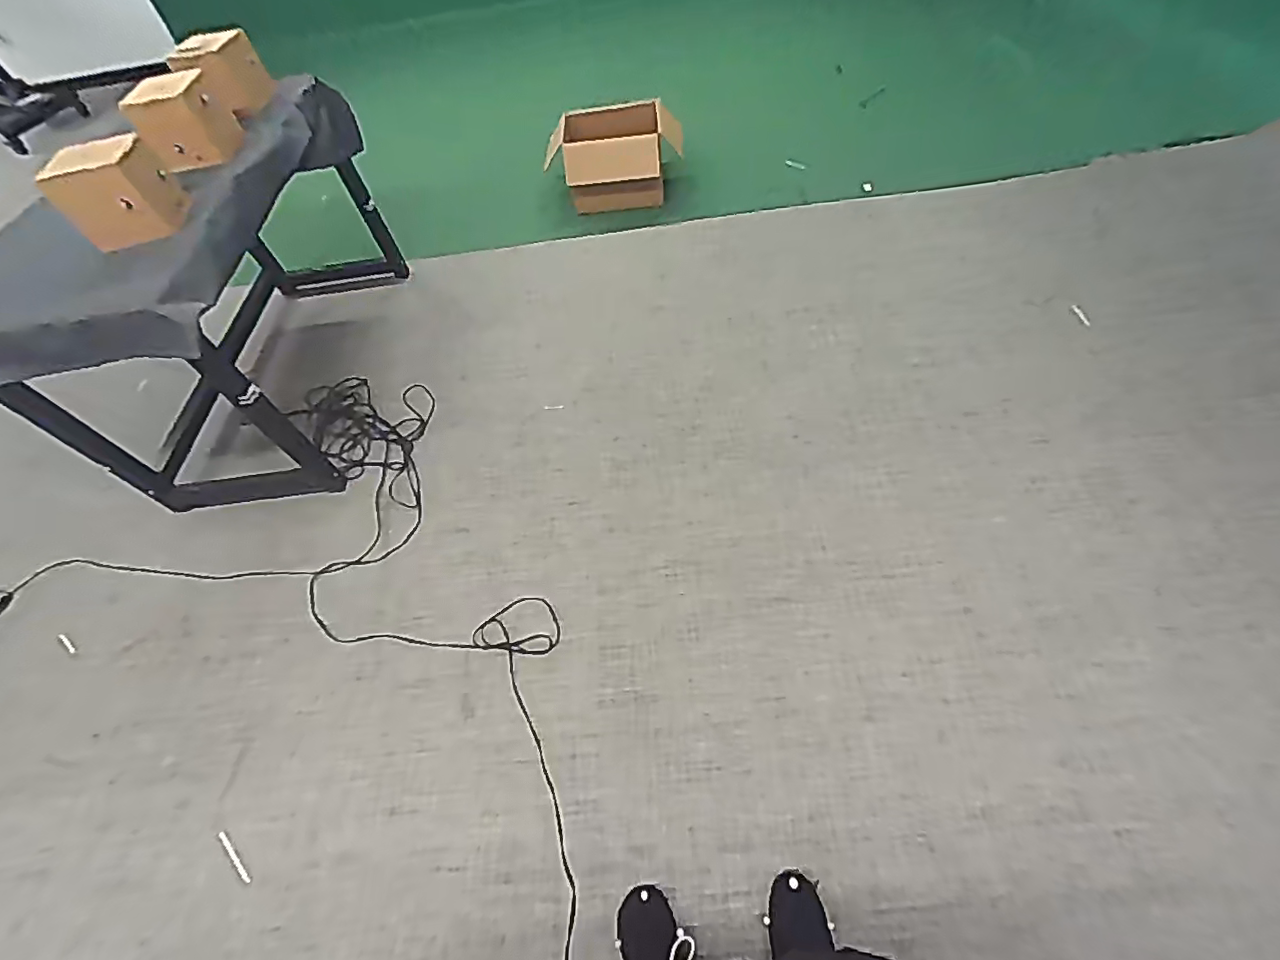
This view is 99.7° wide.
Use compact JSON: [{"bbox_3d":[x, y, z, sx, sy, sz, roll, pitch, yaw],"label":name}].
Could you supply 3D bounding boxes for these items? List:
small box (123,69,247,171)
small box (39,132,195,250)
[{"bbox_3d":[-1.215,-0.972,1.463,0.168,0.176,0.179,-9,56,2],"label":"small box"},{"bbox_3d":[-1.191,-0.664,1.250,0.179,0.176,0.168,-16,54,-2],"label":"small box"}]
